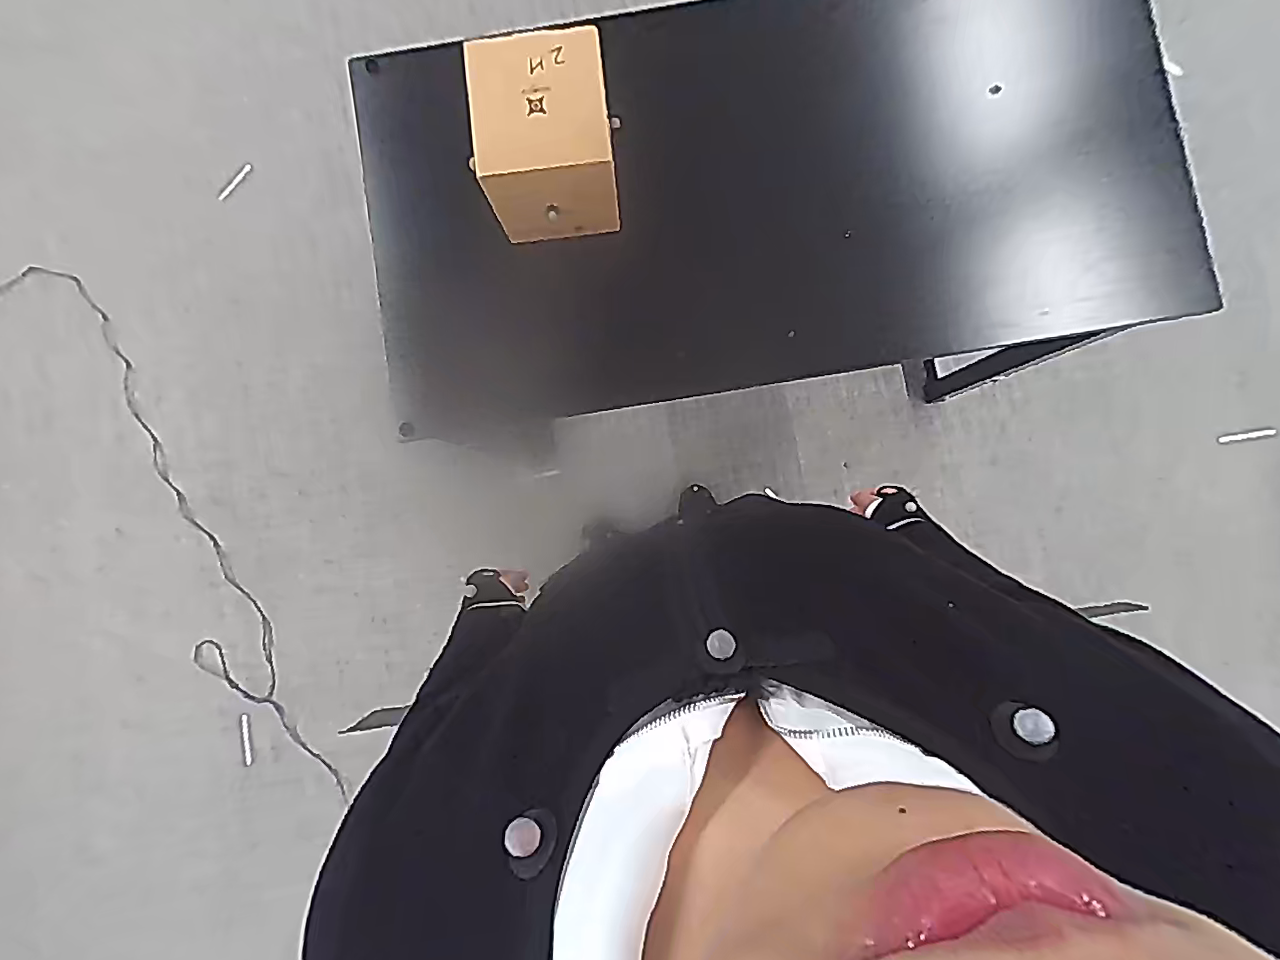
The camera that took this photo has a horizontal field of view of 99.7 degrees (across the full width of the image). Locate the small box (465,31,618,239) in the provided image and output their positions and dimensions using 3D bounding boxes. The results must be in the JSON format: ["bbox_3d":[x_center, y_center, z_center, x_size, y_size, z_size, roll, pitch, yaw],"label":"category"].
[{"bbox_3d":[-0.123,-0.451,0.738,0.168,0.176,0.179,-6,86,1],"label":"small box"}]
